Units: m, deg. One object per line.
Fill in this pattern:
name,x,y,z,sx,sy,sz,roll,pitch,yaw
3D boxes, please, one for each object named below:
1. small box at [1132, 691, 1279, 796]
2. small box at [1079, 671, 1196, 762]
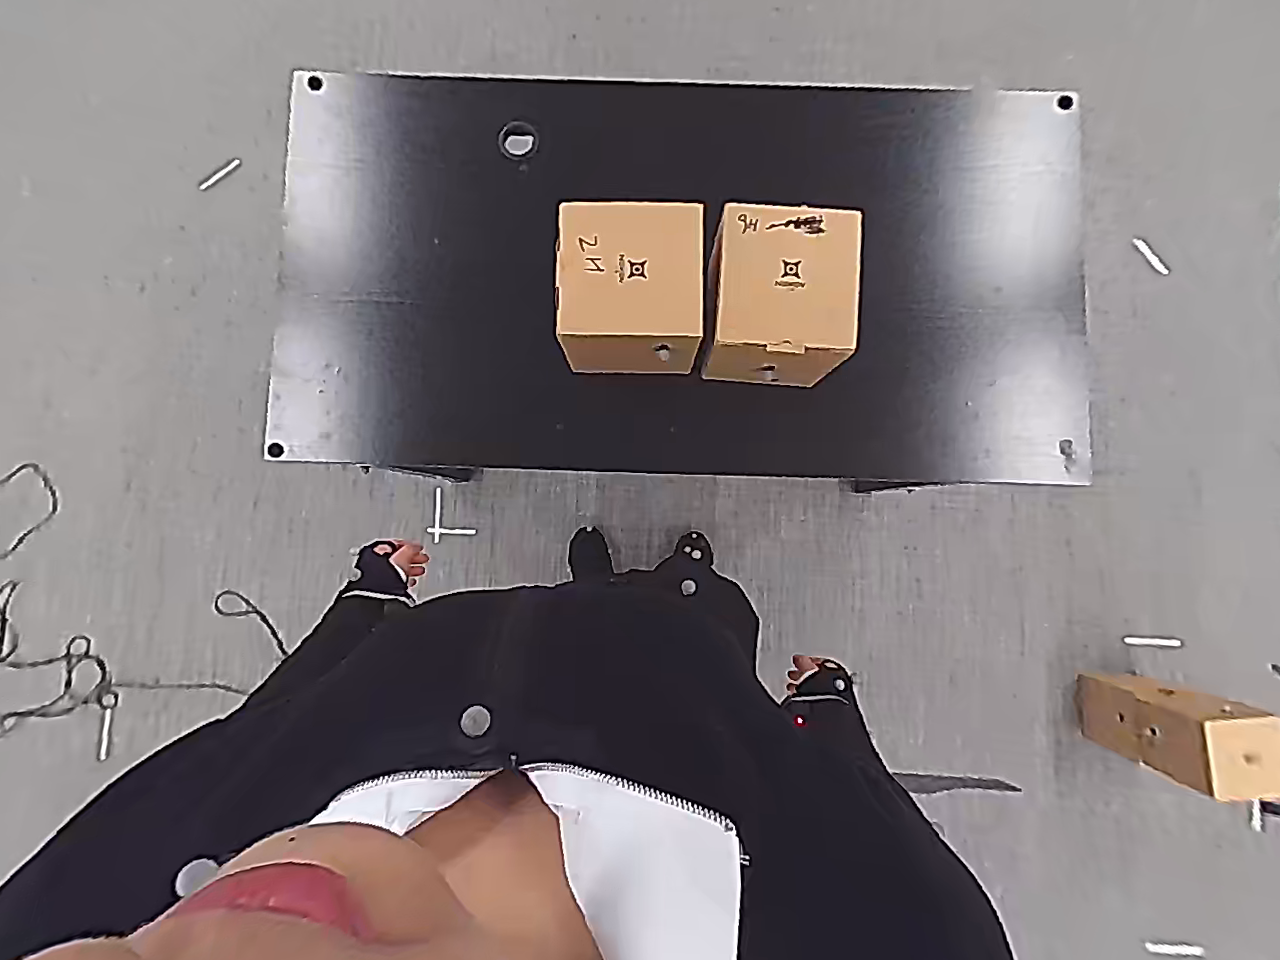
small box,1.286,0.589,1.229,0.179,0.176,0.168,-4,85,1
small box,1.275,0.599,1.392,0.168,0.176,0.179,-1,87,1
